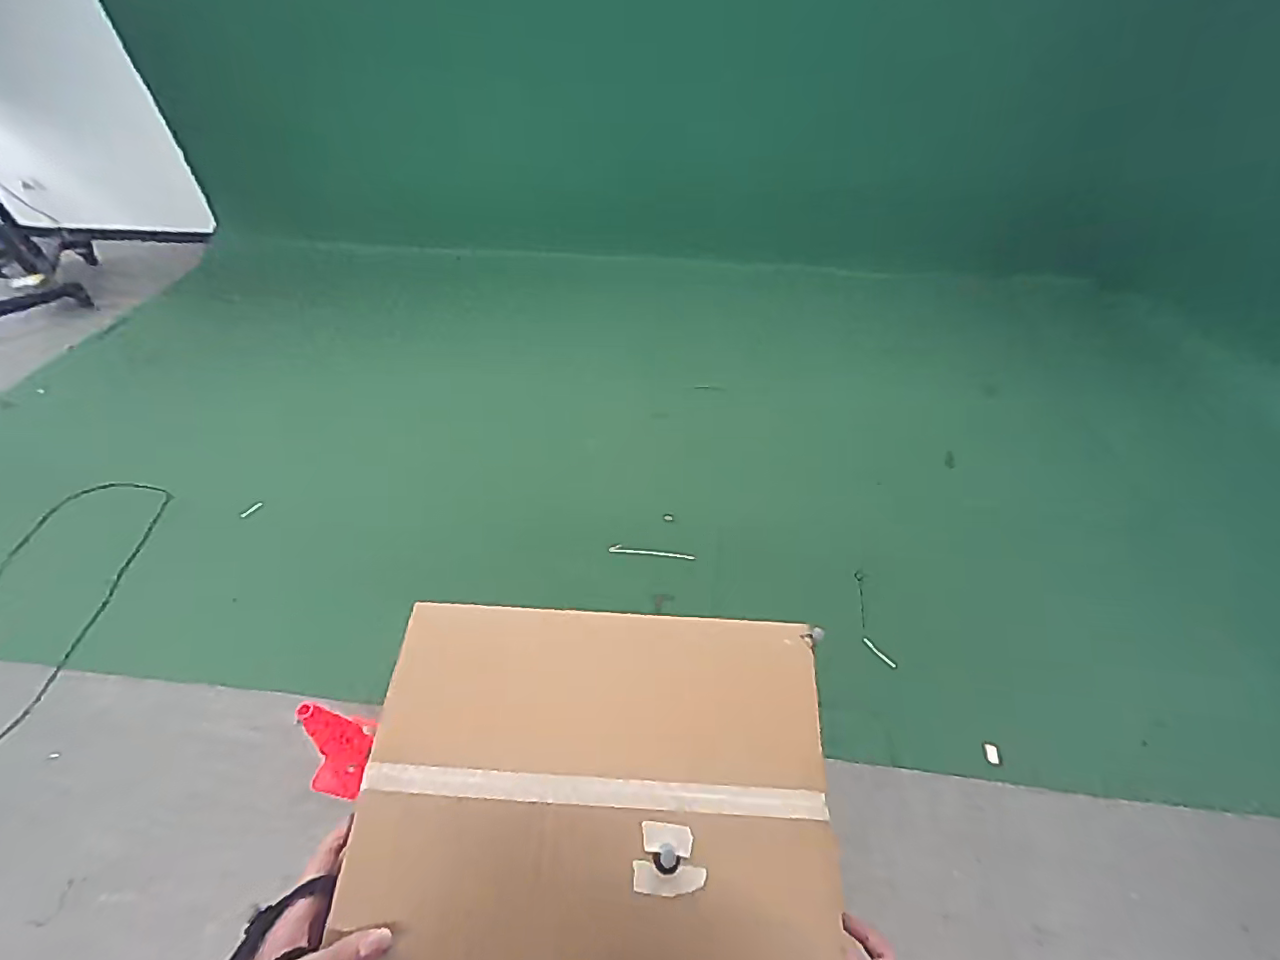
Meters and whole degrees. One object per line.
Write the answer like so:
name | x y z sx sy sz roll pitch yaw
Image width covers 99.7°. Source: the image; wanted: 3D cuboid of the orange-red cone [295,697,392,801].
orange-red cone | -0.790 0.652 1.391 0.199 0.360 0.198 9 46 11

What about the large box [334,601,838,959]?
large box | -0.038 0.342 0.615 0.408 0.320 0.320 3 61 2
